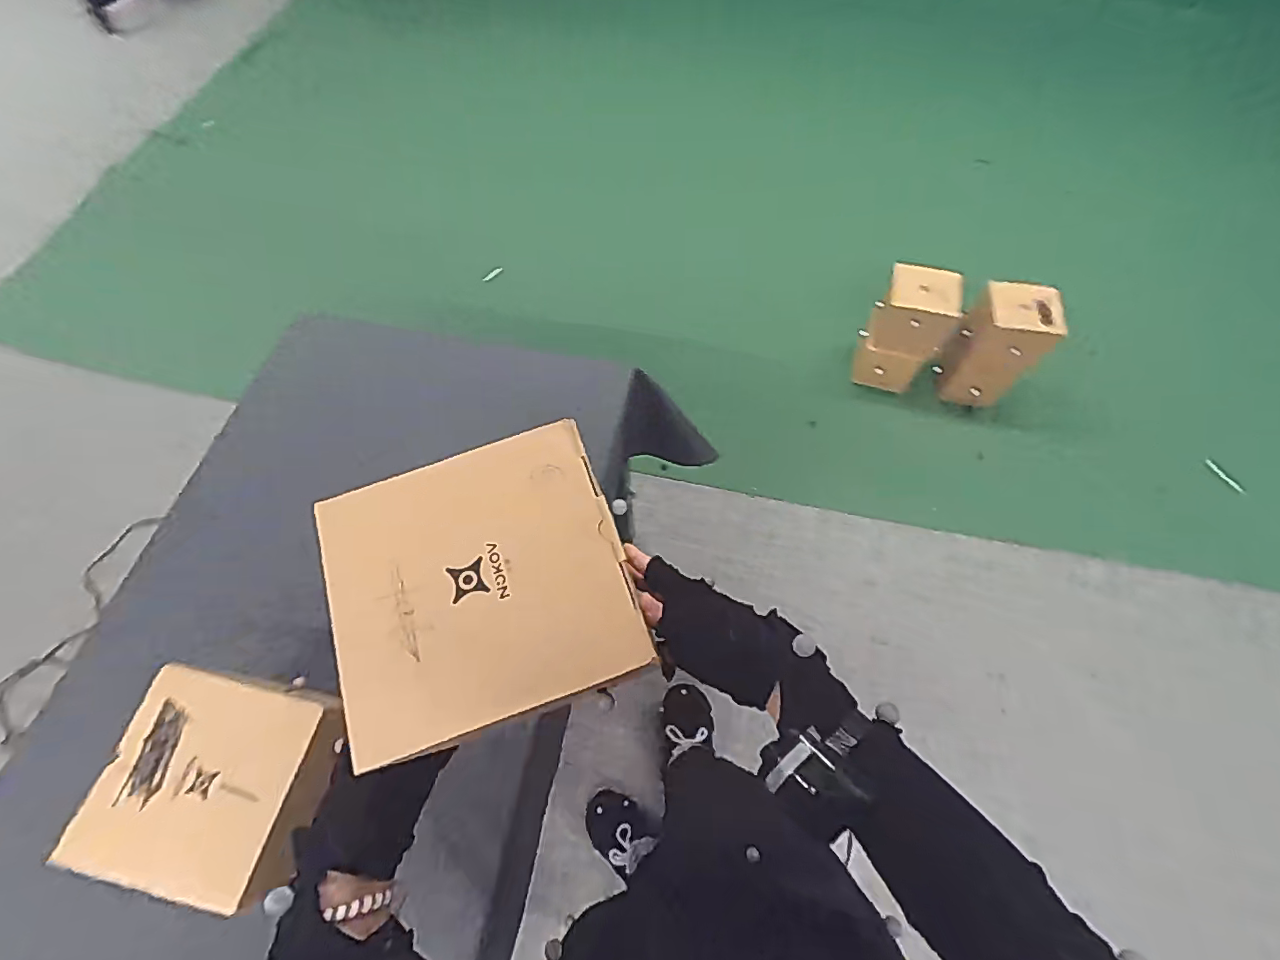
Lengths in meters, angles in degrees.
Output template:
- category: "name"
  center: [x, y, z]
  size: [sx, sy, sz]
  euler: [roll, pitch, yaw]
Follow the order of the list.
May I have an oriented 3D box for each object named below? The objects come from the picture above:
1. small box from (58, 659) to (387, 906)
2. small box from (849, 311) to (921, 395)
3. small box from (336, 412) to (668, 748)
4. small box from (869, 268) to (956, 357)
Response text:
- category: "small box"
  center: [-0.395, 0.298, 0.557]
  size: [0.179, 0.176, 0.168]
  euler: [11, 64, 6]
- category: "small box"
  center: [0.772, -0.395, 1.701]
  size: [0.168, 0.176, 0.179]
  euler: [15, 64, 9]
- category: "small box"
  center: [-0.087, 0.078, 0.402]
  size: [0.179, 0.176, 0.168]
  euler: [-18, 69, -4]
- category: "small box"
  center: [0.780, -0.477, 1.557]
  size: [0.179, 0.176, 0.168]
  euler: [14, 64, 8]
